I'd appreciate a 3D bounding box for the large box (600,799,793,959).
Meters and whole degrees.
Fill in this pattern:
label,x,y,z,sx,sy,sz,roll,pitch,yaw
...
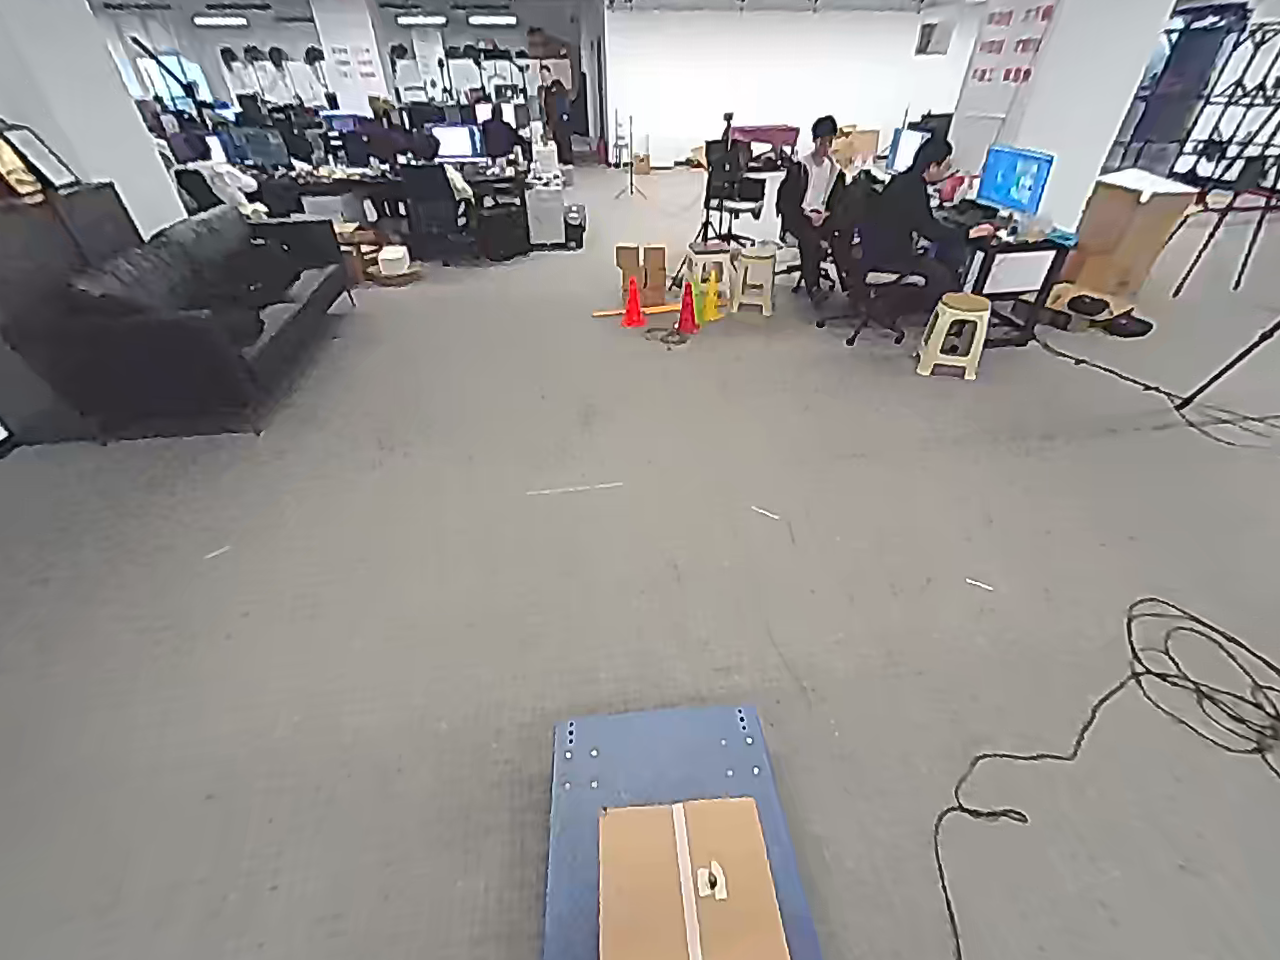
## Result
label,x,y,z,sx,sy,sz,roll,pitch,yaw
large box,0.096,0.884,0.996,0.320,0.320,0.408,-3,35,-3
